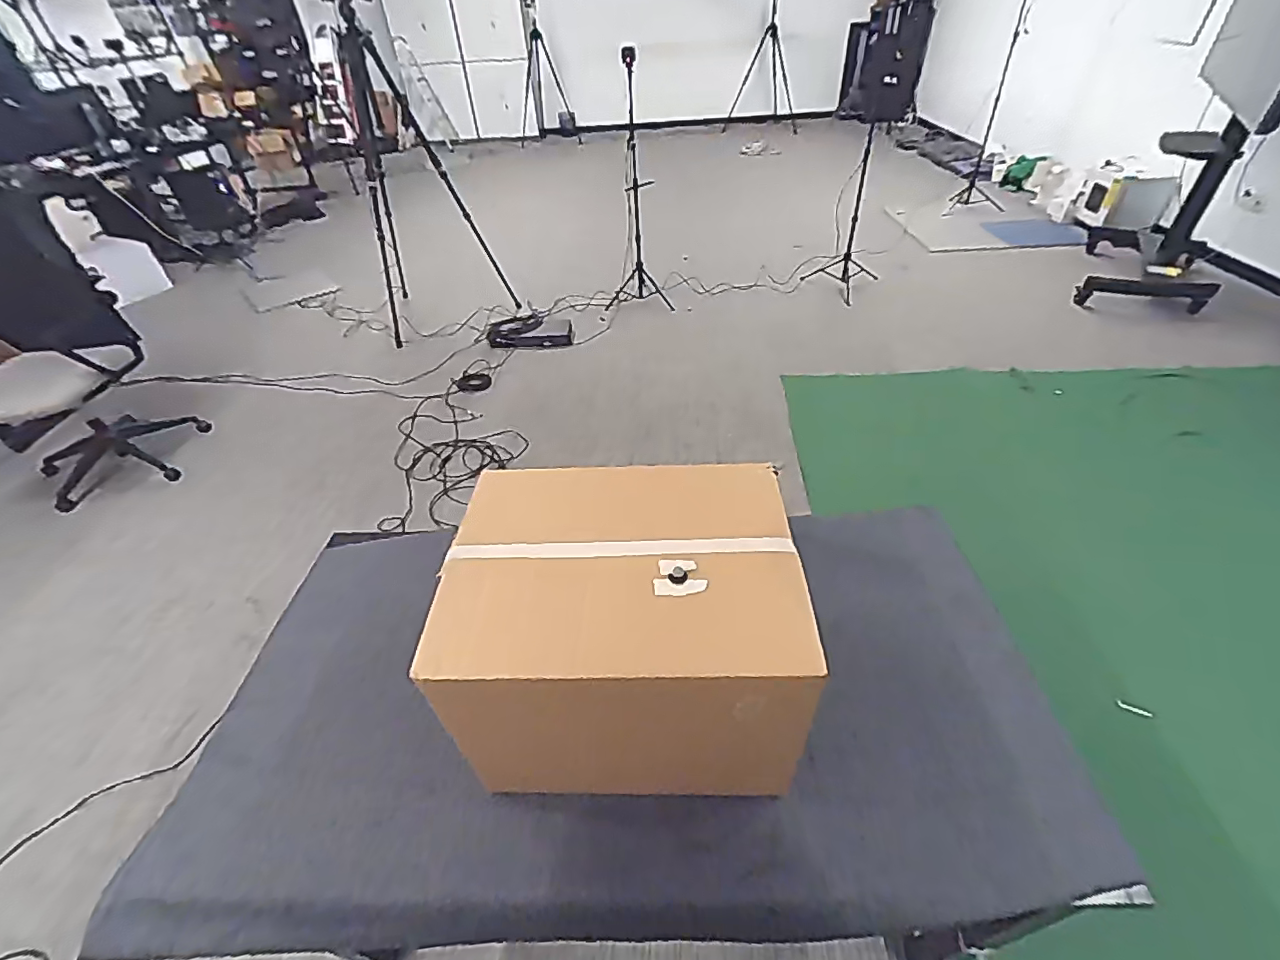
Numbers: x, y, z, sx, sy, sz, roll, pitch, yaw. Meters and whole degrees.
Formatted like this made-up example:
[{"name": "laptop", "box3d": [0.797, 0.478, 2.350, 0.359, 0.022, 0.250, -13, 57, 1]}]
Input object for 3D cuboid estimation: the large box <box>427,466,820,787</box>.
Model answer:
[{"name": "large box", "box3d": [-0.013, 0.199, 0.744, 0.408, 0.320, 0.320, -1, 42, 2]}]
